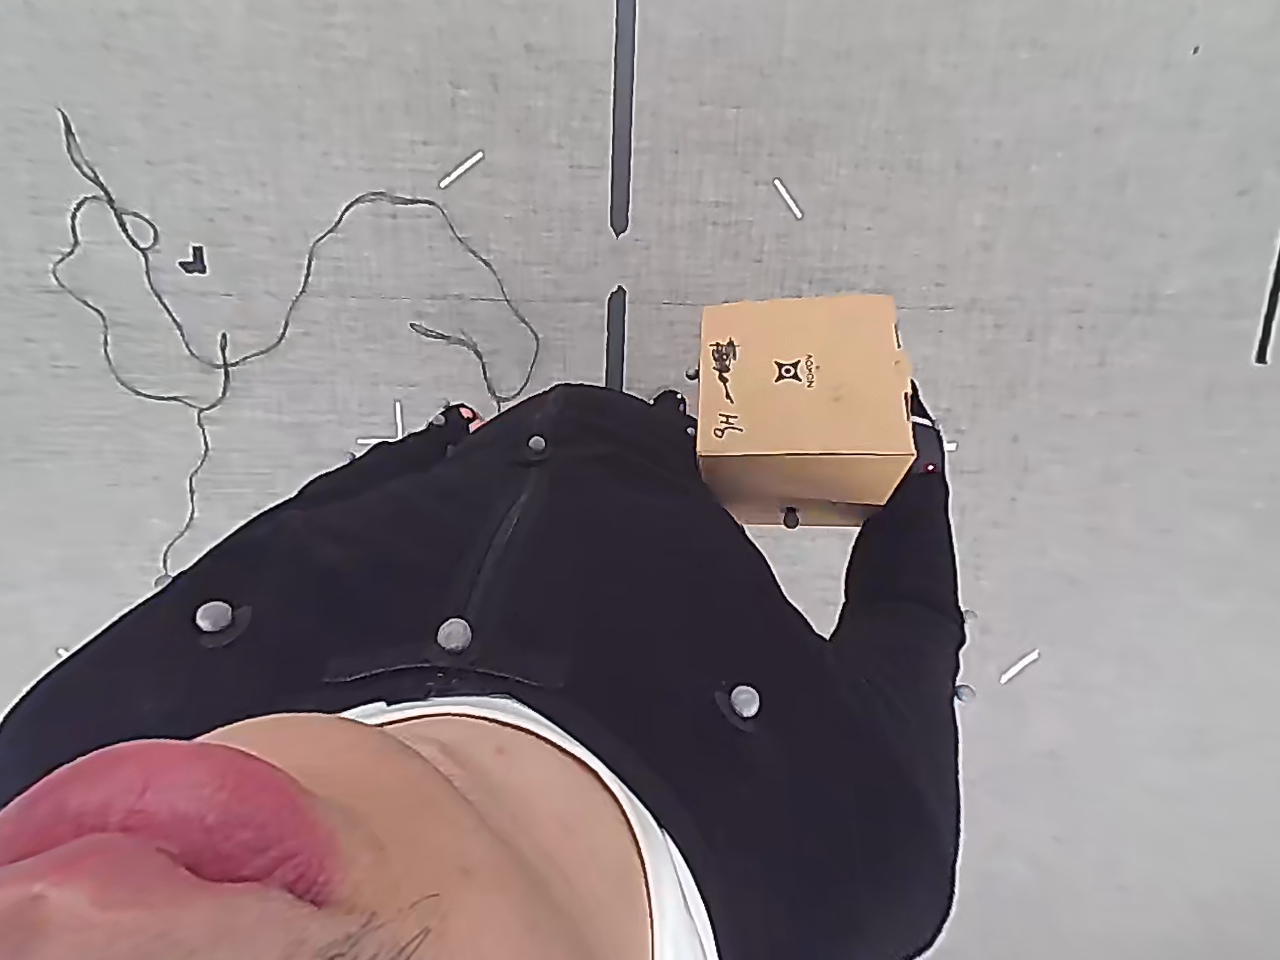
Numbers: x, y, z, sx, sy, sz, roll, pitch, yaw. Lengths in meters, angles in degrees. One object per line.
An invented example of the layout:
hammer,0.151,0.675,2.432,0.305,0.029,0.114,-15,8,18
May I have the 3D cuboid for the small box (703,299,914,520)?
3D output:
small box,0.159,-0.064,0.561,0.179,0.176,0.168,0,65,10
